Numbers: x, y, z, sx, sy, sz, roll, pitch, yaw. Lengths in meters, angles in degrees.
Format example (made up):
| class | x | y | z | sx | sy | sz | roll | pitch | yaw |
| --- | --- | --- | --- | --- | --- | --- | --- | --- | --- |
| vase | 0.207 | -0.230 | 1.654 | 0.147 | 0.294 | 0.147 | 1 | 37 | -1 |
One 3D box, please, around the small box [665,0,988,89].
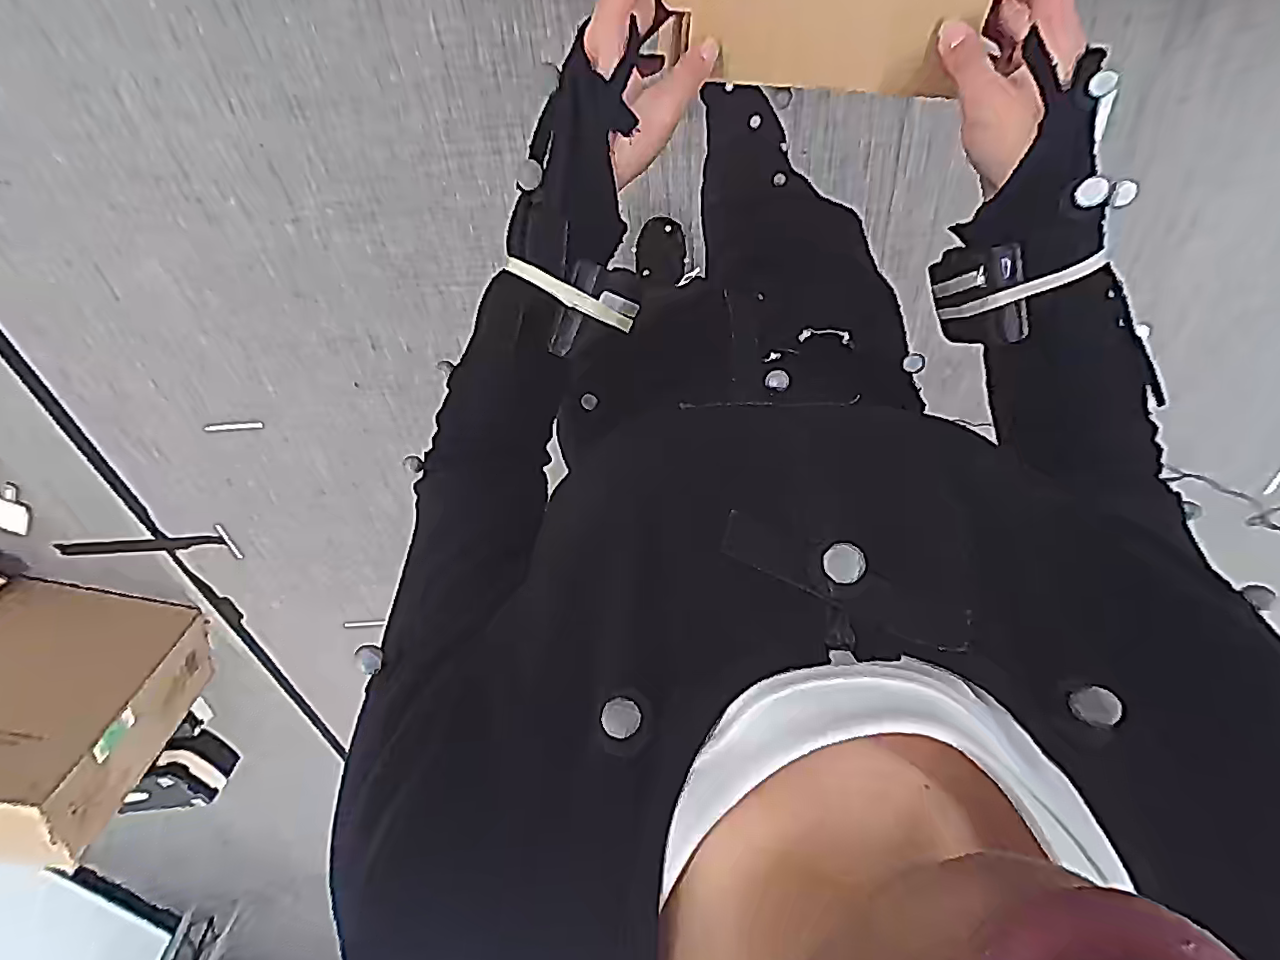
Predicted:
| class | x | y | z | sx | sy | sz | roll | pitch | yaw |
| --- | --- | --- | --- | --- | --- | --- | --- | --- | --- |
| small box | 0.113 | -0.360 | 0.340 | 0.179 | 0.176 | 0.168 | 0 | 131 | -5 |
